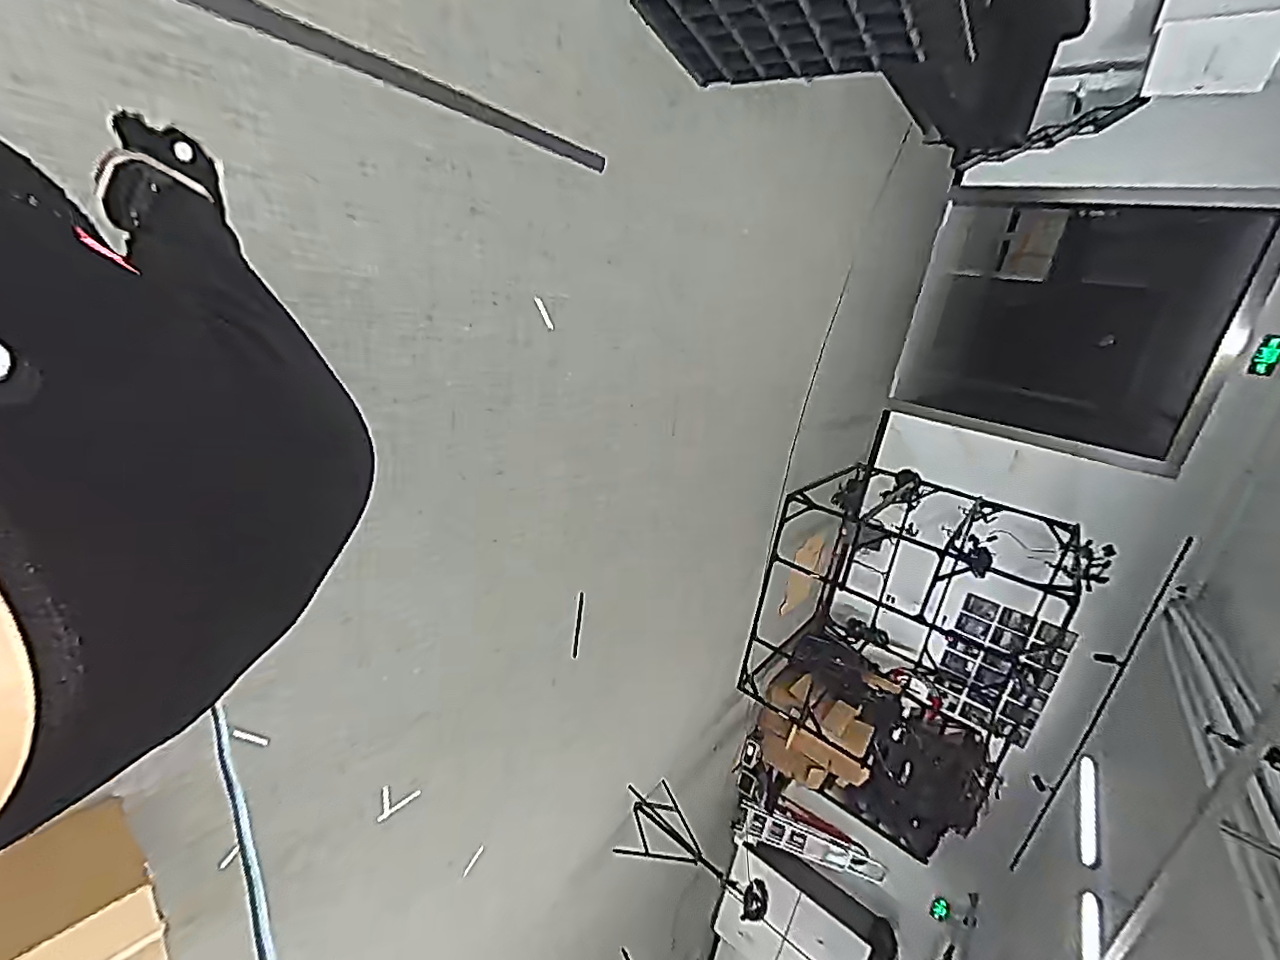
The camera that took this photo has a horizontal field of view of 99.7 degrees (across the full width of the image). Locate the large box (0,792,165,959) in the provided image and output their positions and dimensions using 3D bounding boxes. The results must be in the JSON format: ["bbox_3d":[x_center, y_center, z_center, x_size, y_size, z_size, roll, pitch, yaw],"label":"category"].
[{"bbox_3d":[-1.337,0.988,1.157,0.408,0.320,0.320,-16,121,-50],"label":"large box"}]
